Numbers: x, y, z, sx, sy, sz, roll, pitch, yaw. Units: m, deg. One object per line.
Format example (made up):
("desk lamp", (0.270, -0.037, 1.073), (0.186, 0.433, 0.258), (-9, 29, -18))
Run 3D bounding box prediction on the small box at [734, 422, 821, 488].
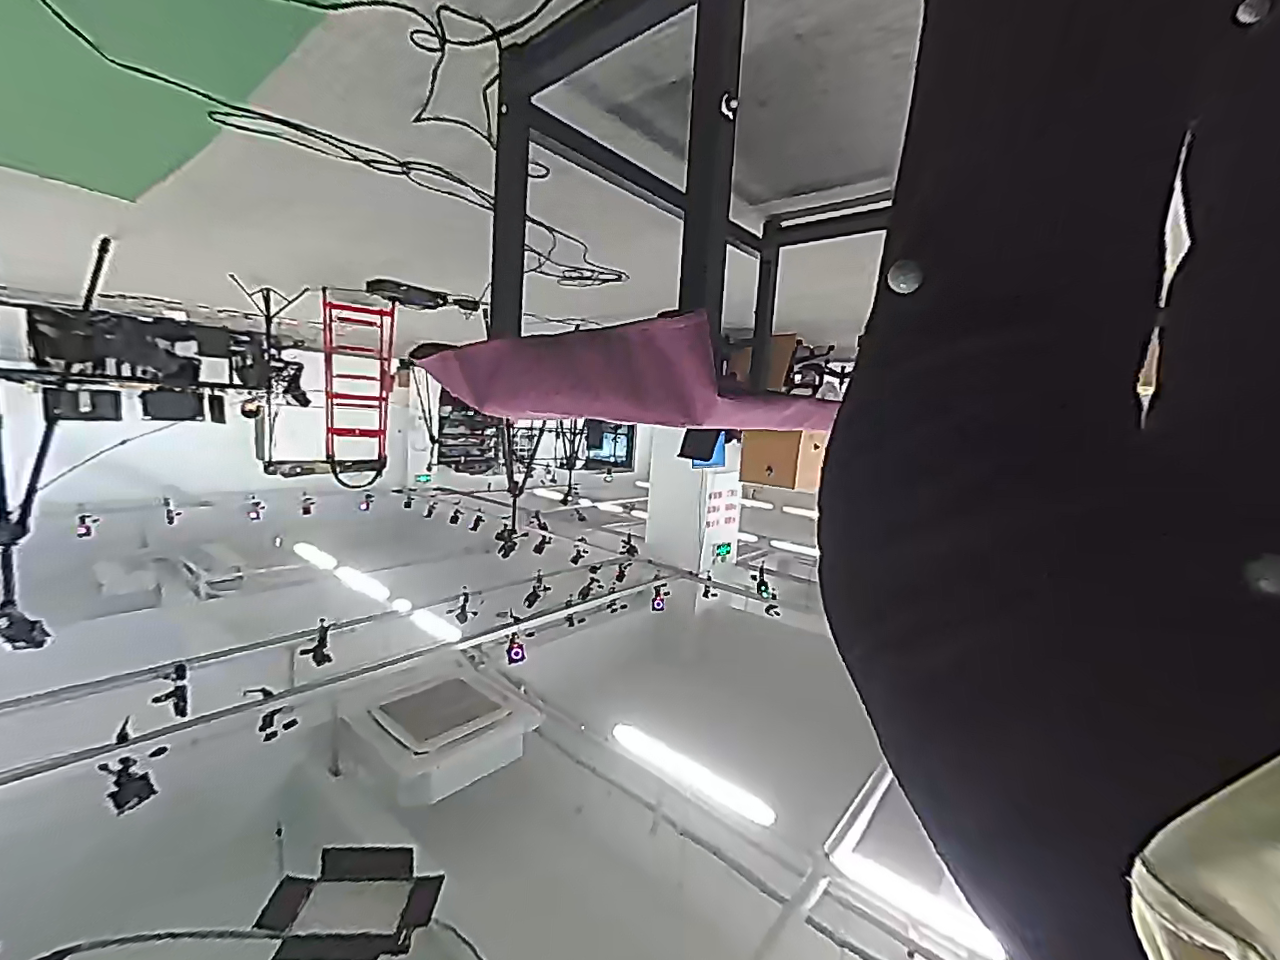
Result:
("small box", (0.386, -0.075, 1.510), (0.179, 0.176, 0.168), (9, -172, 41))
